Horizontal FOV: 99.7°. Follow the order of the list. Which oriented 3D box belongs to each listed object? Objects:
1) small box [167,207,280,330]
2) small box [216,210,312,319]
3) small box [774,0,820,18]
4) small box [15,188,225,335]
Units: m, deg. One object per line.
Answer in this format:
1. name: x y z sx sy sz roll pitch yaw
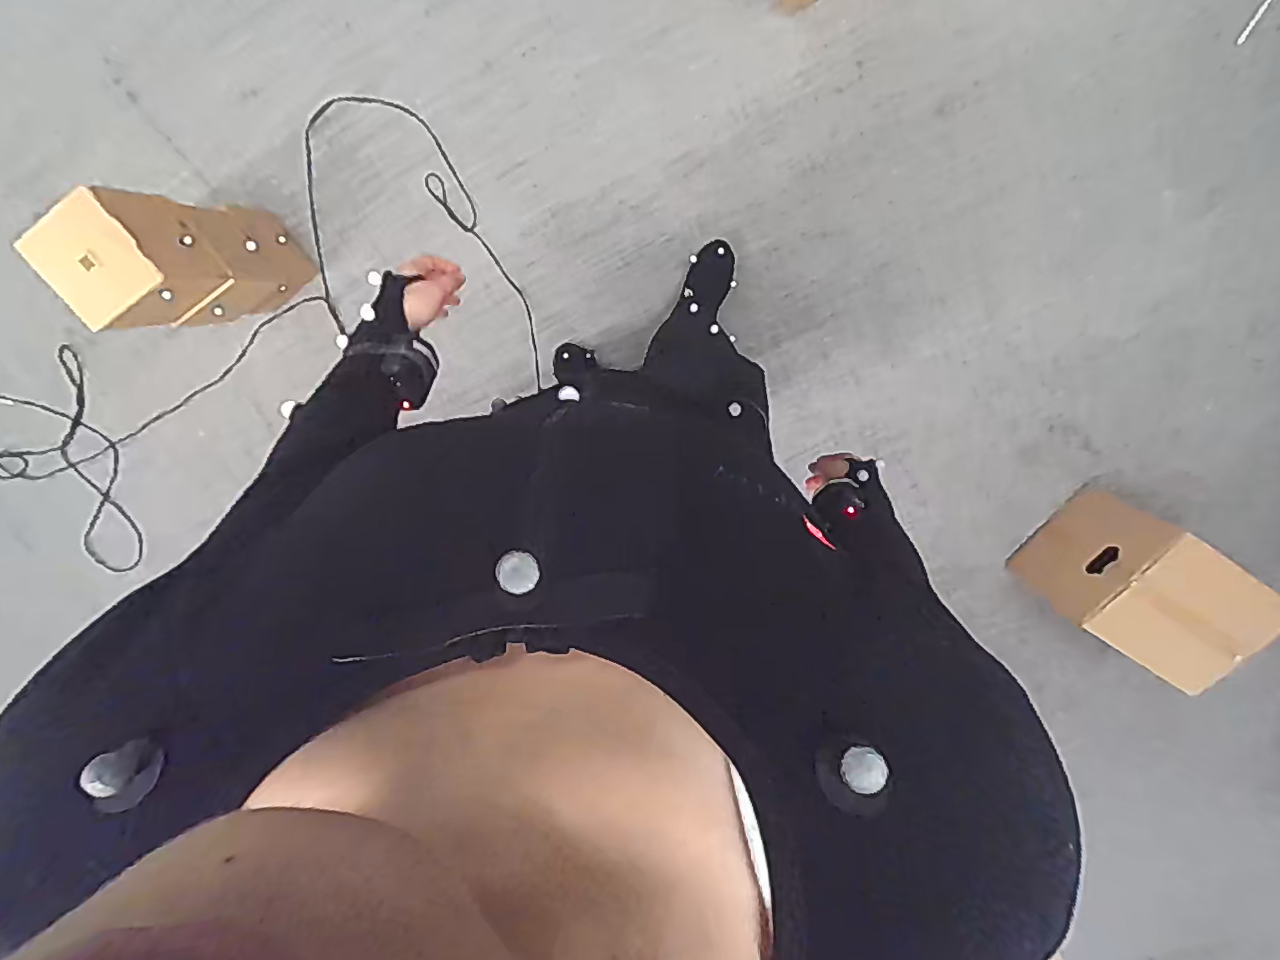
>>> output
1. small box: -0.903 -0.430 1.116 0.179 0.176 0.168 -29 108 10
2. small box: -0.912 -0.500 1.265 0.179 0.176 0.168 -32 106 13
3. small box: 0.334 -1.054 1.037 0.168 0.176 0.179 -24 108 10
4. small box: -0.904 -0.380 0.961 0.179 0.176 0.168 -30 107 11
